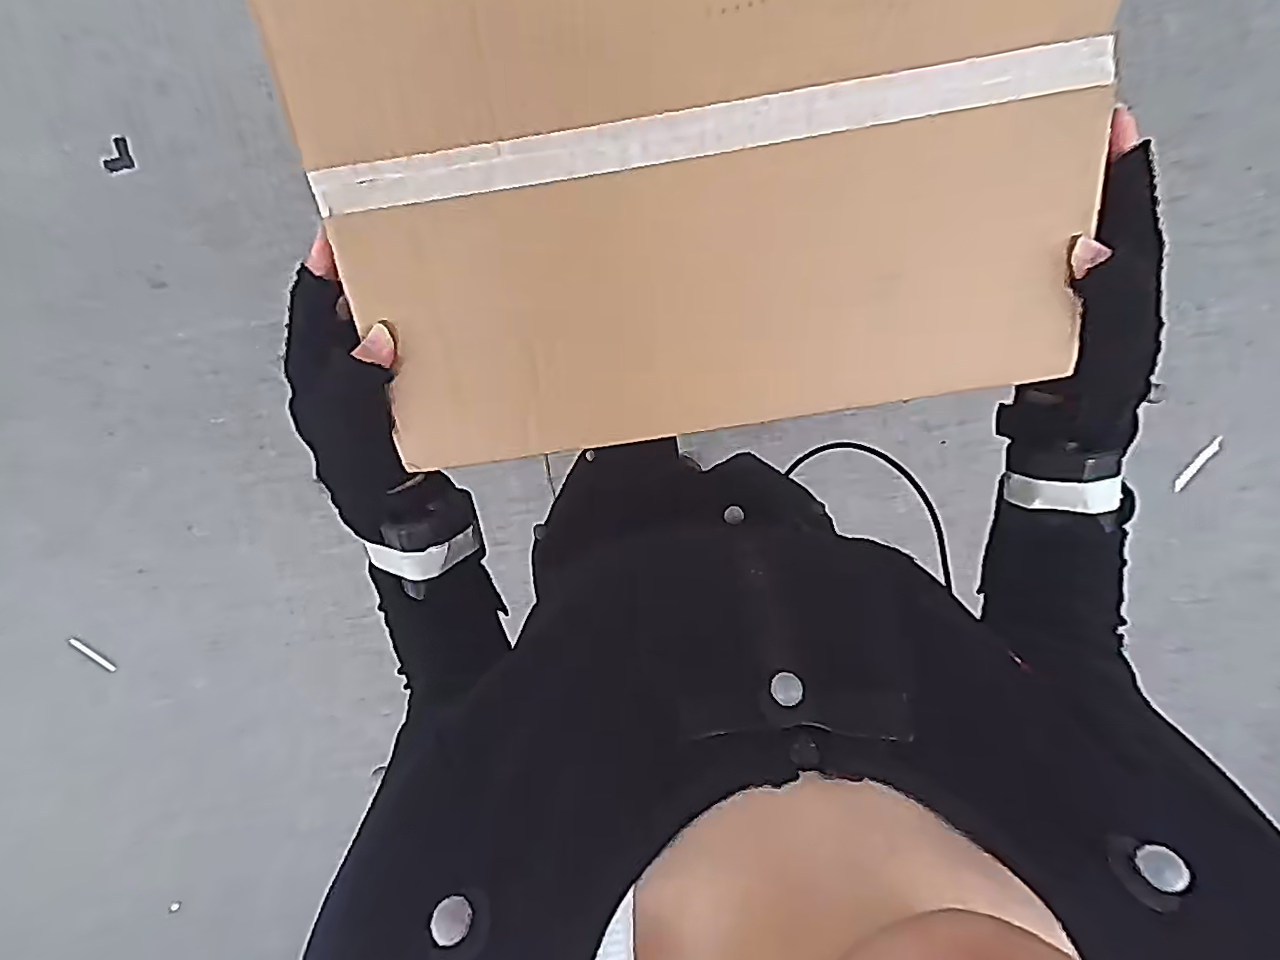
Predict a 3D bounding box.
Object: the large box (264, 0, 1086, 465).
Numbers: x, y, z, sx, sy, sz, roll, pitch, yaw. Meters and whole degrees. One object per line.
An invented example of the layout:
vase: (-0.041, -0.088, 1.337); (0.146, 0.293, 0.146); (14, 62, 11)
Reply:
large box: (0.025, -0.234, 0.423); (0.408, 0.320, 0.320); (-8, 110, 2)
